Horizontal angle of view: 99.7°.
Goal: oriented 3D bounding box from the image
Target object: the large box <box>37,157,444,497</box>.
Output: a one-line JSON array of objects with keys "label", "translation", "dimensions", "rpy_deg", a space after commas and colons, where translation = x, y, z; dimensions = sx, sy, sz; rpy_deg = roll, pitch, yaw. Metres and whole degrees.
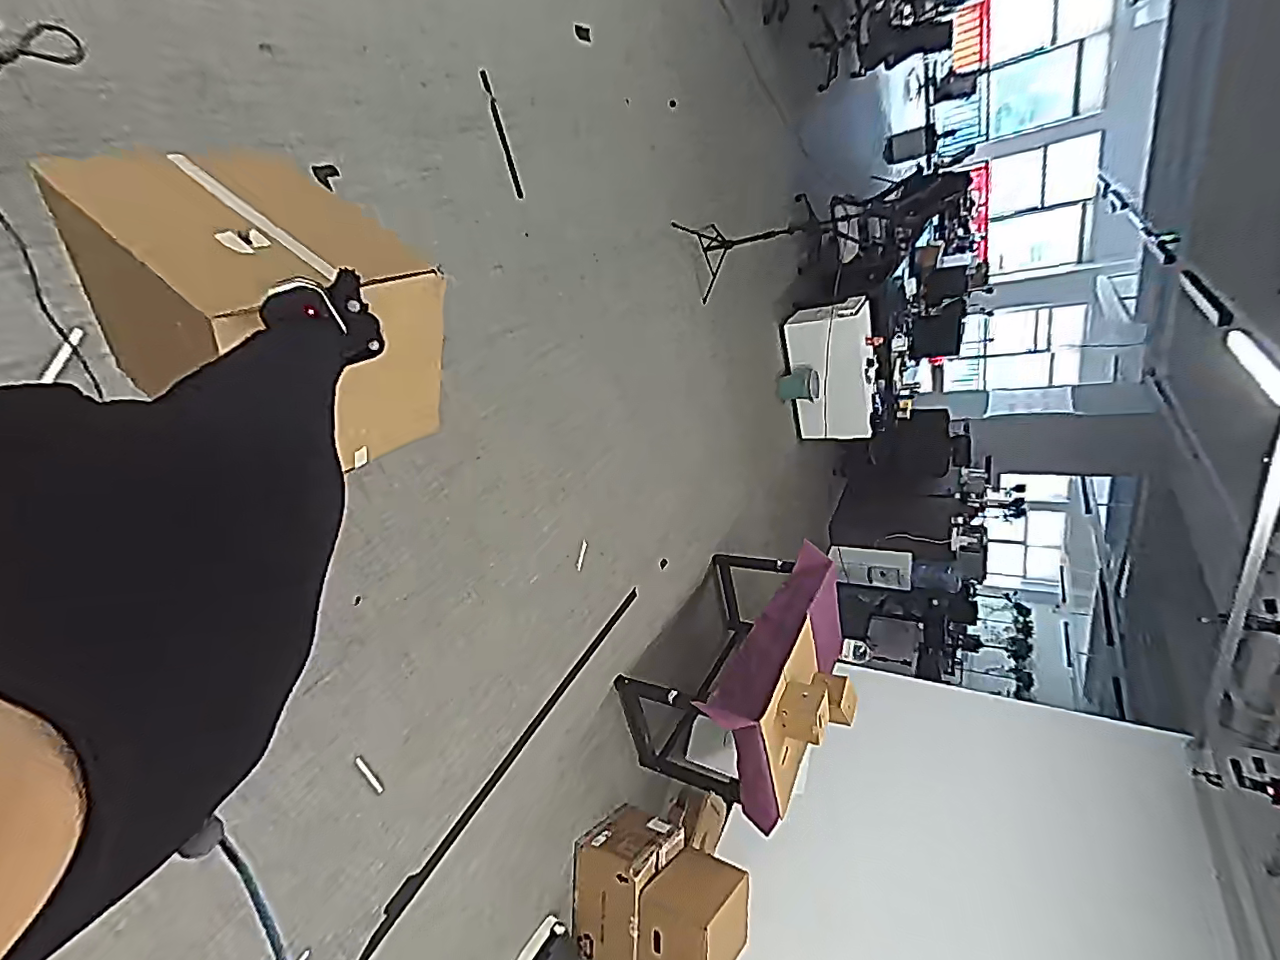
[{"label": "large box", "translation": [-0.578, -0.251, 0.846], "dimensions": [0.320, 0.408, 0.320], "rpy_deg": [-40, 162, -44]}]
